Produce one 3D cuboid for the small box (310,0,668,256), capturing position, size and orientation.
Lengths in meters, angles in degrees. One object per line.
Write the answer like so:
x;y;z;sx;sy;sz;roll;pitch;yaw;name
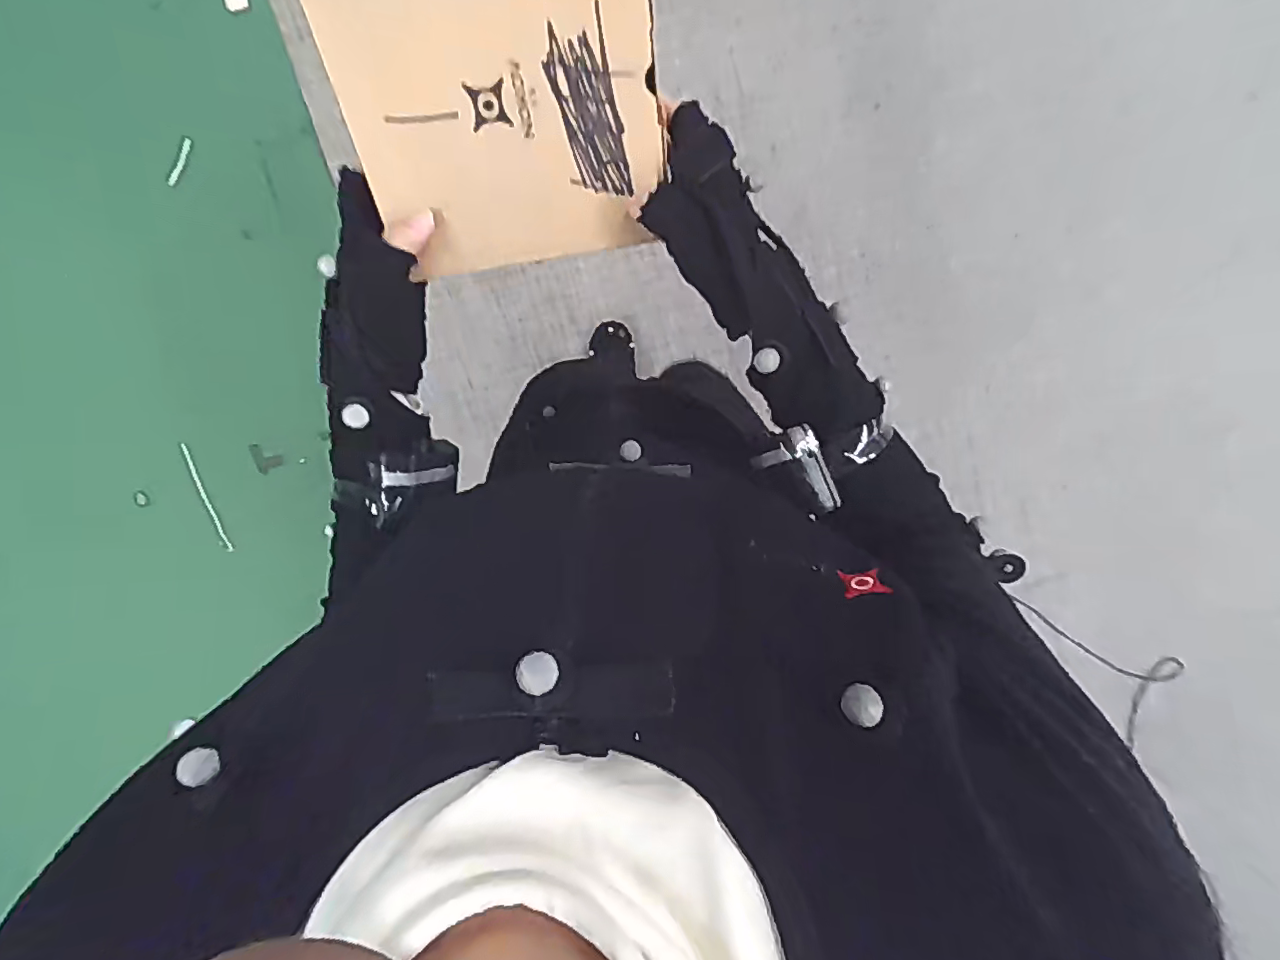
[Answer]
-0.083;-0.268;0.365;0.179;0.176;0.168;-8;126;1;small box
